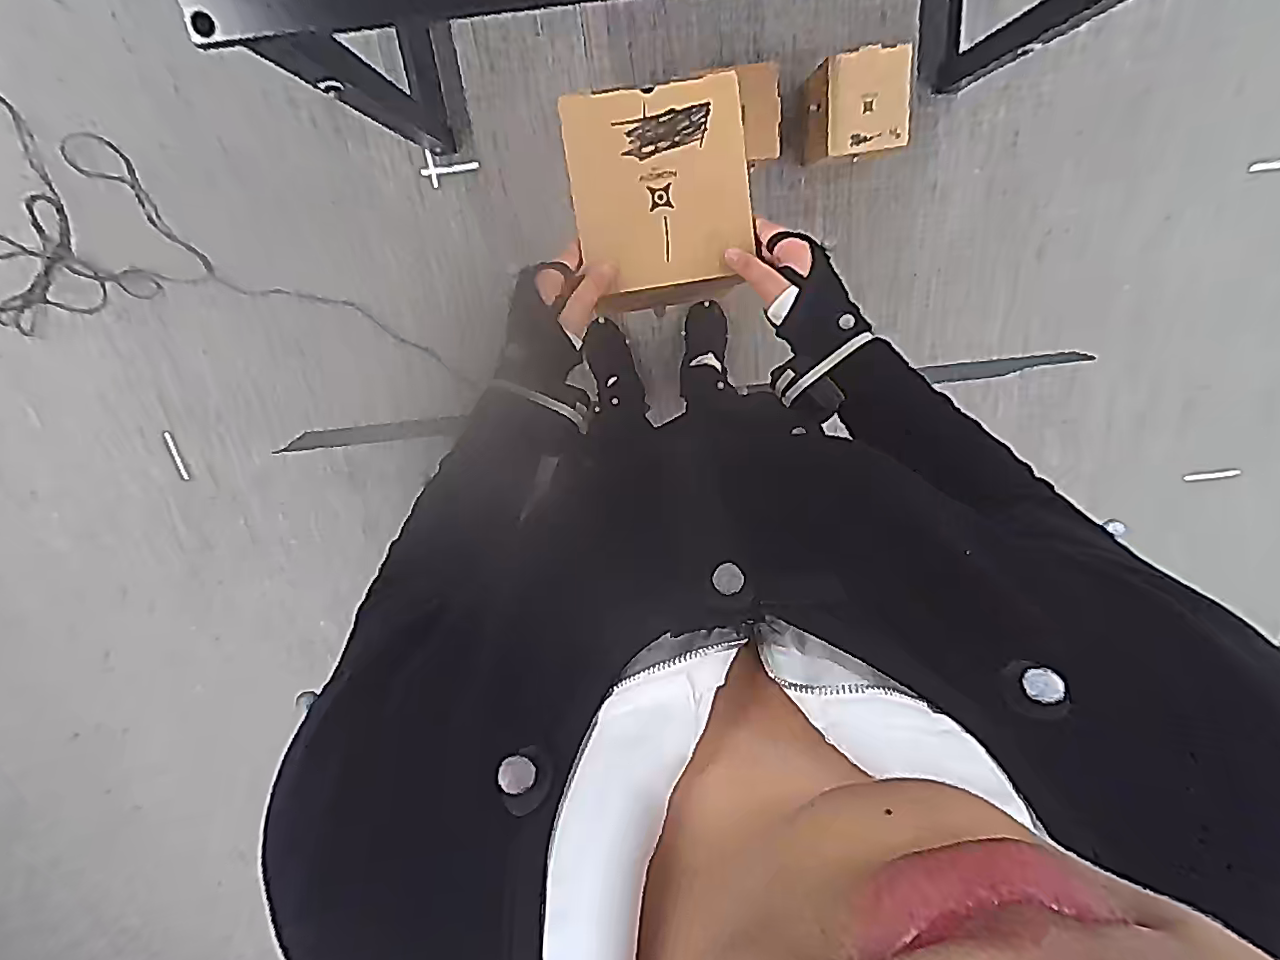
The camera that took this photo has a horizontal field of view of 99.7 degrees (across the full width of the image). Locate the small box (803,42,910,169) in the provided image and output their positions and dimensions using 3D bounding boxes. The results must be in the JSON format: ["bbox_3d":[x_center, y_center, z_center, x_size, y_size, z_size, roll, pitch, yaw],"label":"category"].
[{"bbox_3d":[0.450,-0.784,1.148,0.168,0.176,0.179,-7,111,2],"label":"small box"}]

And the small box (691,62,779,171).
[{"bbox_3d":[0.189,-0.760,1.156,0.179,0.176,0.168,-6,111,2],"label":"small box"}]

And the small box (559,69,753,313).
[{"bbox_3d":[0.013,-0.288,0.578,0.168,0.176,0.179,-9,101,0],"label":"small box"}]
